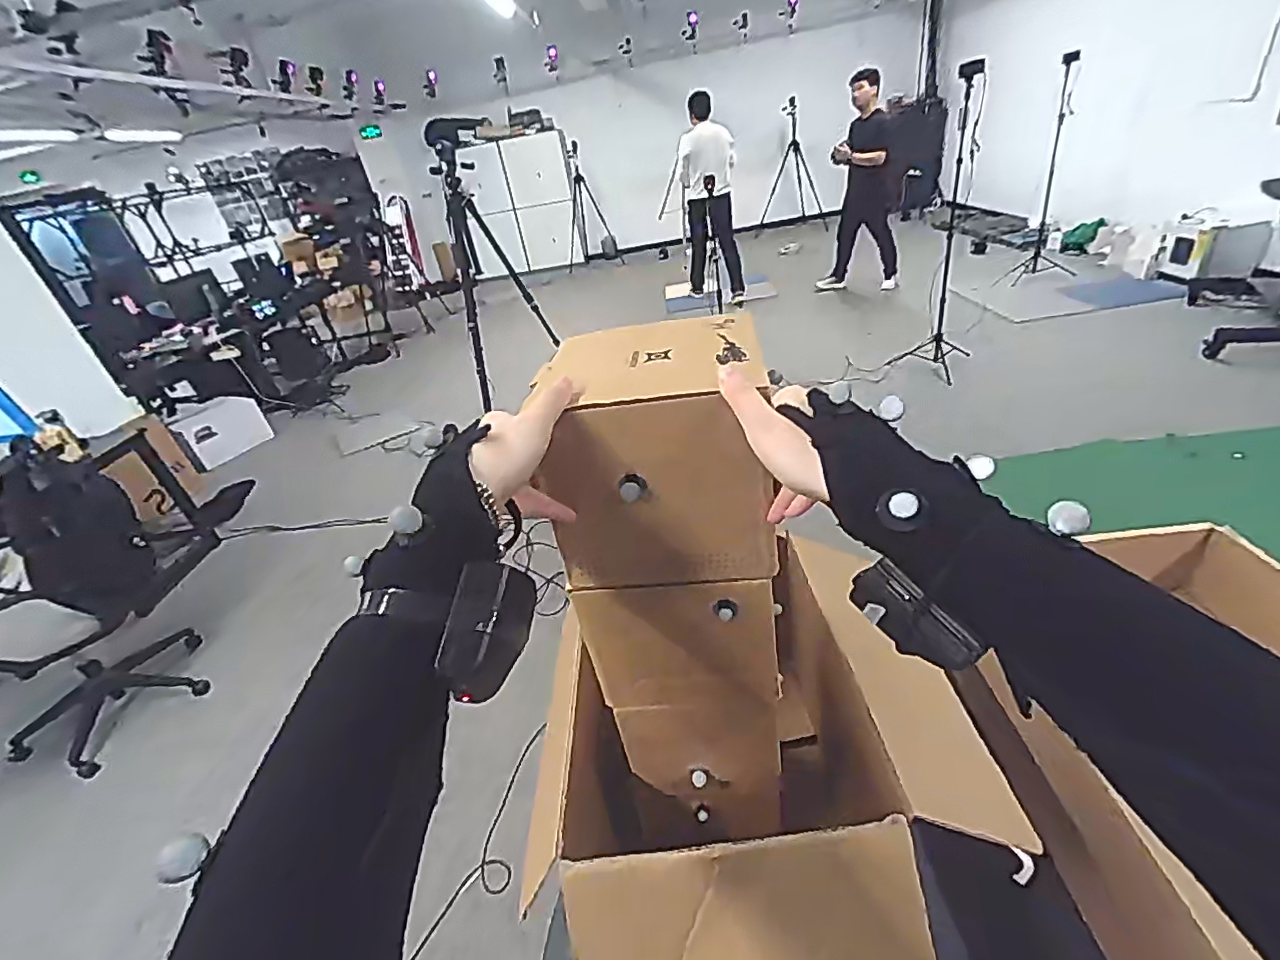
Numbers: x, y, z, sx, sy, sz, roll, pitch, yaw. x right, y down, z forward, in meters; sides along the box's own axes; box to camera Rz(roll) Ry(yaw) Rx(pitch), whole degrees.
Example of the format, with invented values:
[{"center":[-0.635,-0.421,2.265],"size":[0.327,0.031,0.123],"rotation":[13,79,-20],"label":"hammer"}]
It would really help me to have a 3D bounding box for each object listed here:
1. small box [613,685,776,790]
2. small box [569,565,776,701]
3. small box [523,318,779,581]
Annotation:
[{"center":[0.070,0.243,0.653],"size":[0.168,0.176,0.179],"rotation":[-6,34,8],"label":"small box"},{"center":[0.042,0.111,0.564],"size":[0.179,0.176,0.168],"rotation":[-5,33,9],"label":"small box"},{"center":[0.023,-0.026,0.474],"size":[0.179,0.176,0.168],"rotation":[-5,33,10],"label":"small box"}]
